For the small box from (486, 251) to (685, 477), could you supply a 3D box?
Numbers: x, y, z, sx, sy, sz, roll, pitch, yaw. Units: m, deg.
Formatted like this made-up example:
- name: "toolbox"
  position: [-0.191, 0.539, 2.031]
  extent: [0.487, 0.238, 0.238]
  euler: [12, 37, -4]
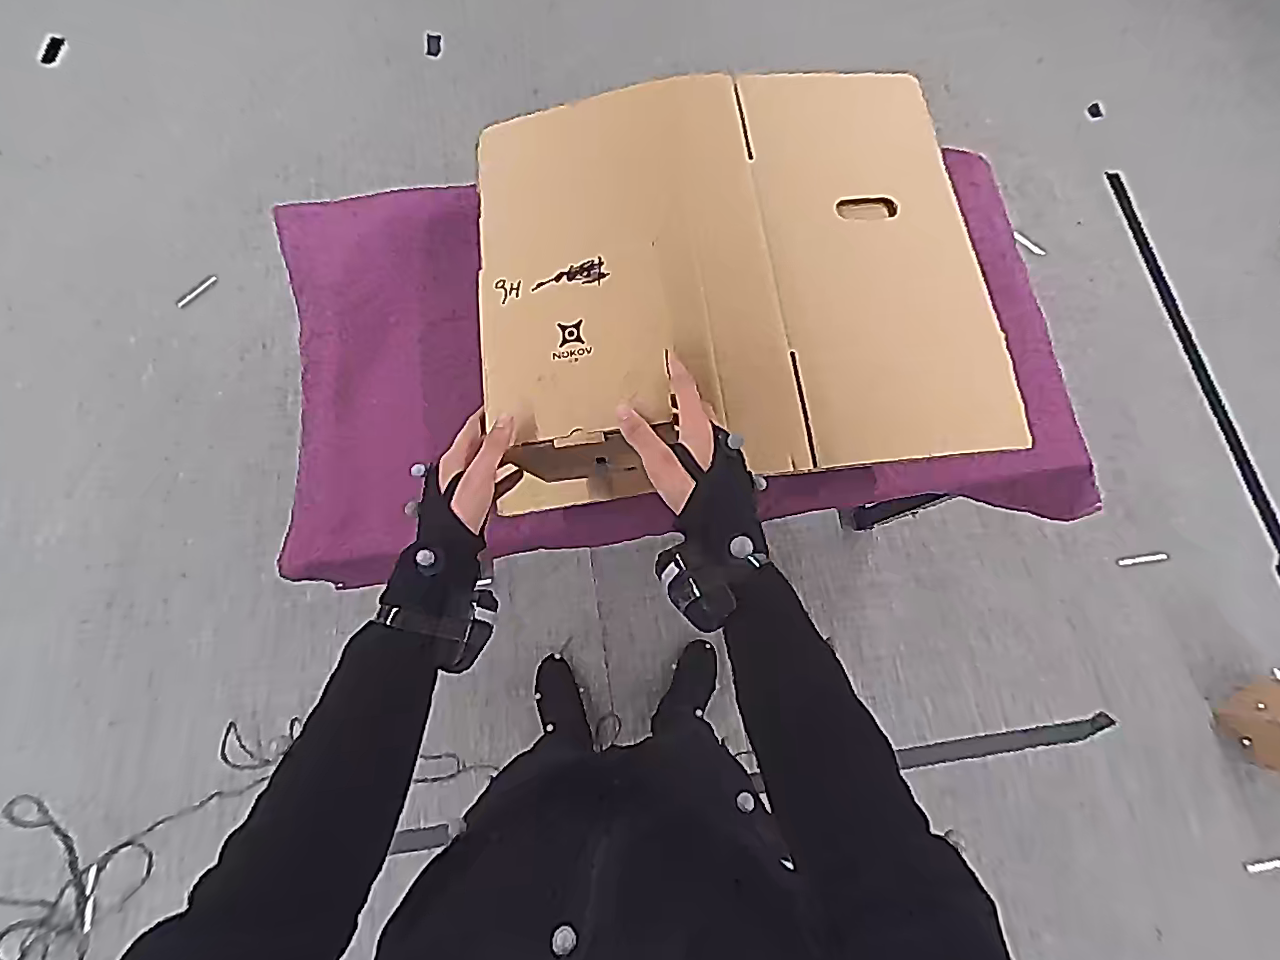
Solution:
- name: "small box"
  position: [-0.045, -0.102, 0.560]
  extent: [0.168, 0.176, 0.179]
  euler: [-6, 80, 7]
